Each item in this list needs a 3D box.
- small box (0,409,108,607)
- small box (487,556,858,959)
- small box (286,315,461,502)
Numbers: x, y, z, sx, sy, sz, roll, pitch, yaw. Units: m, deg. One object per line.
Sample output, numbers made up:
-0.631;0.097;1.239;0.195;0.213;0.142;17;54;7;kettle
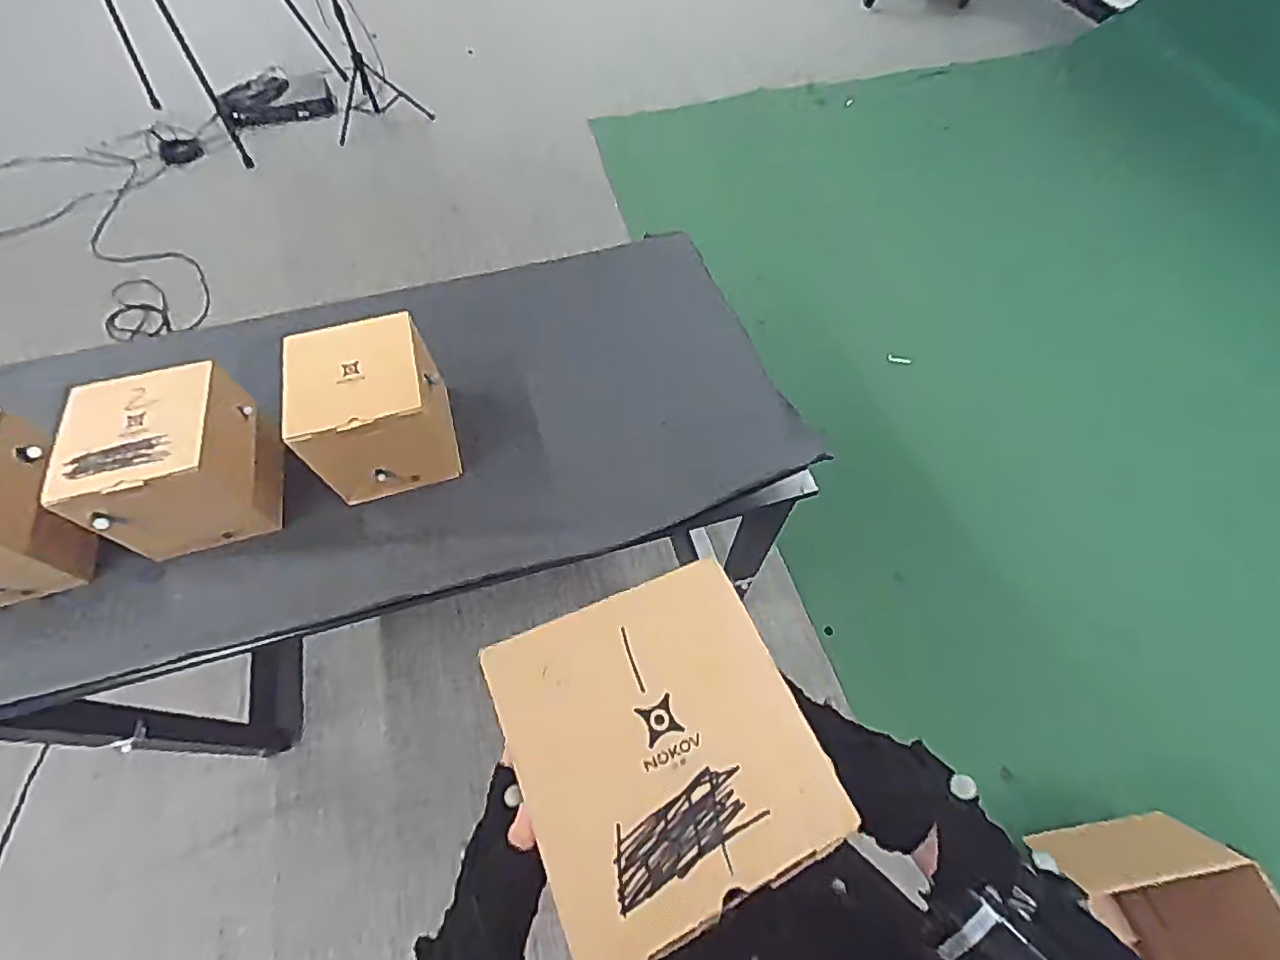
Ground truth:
-0.823;0.045;0.670;0.168;0.176;0.179;-16;61;-10;small box
0.007;0.183;0.379;0.168;0.176;0.179;-19;65;-18;small box
-0.365;-0.096;0.759;0.168;0.176;0.179;-16;62;-9;small box
